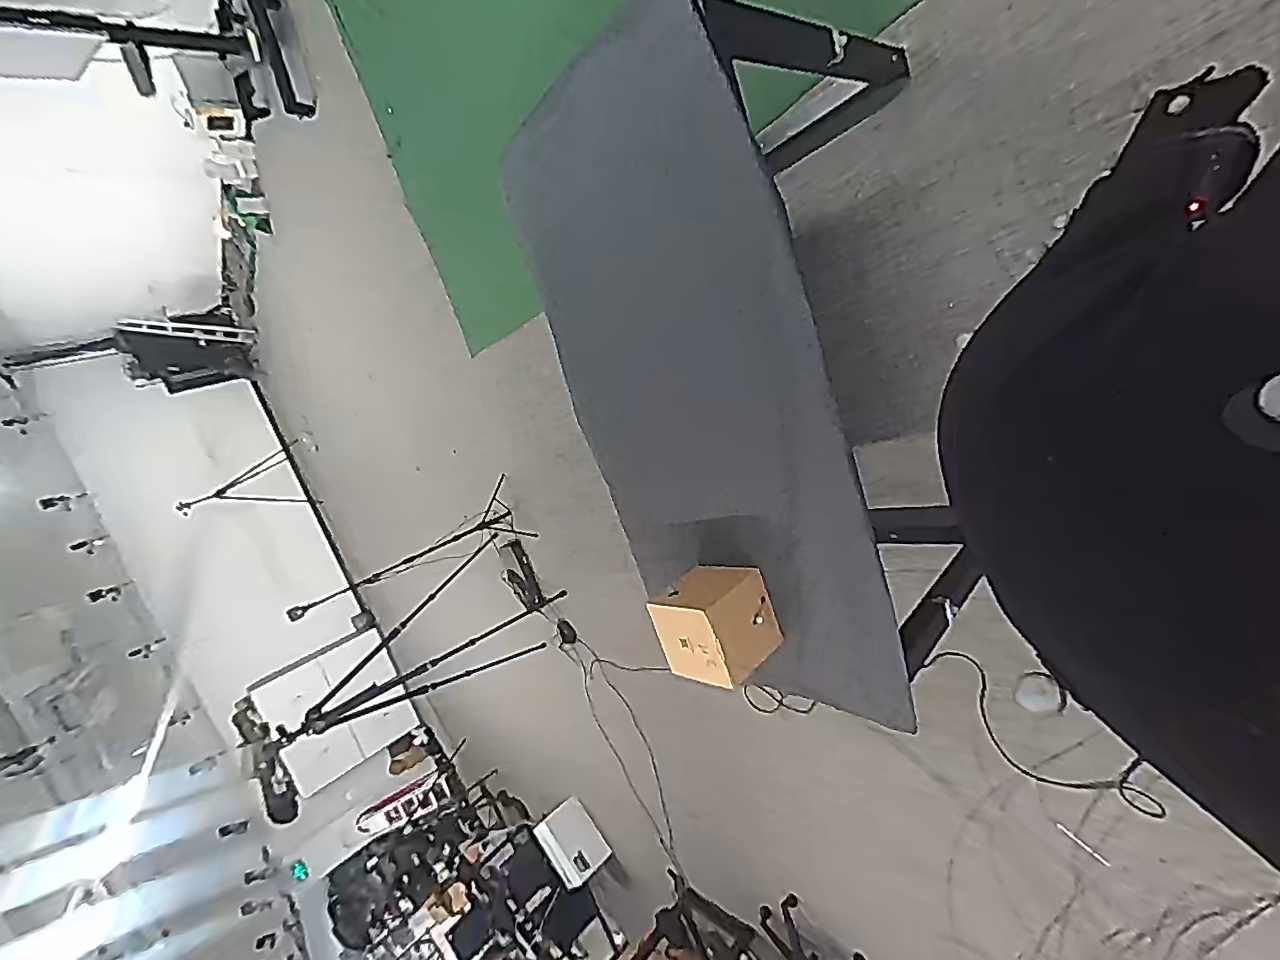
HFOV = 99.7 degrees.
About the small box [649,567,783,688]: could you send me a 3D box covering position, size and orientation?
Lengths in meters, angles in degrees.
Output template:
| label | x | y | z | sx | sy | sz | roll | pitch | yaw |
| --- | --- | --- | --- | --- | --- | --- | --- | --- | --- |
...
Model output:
| label | x | y | z | sx | sy | sz | roll | pitch | yaw |
| --- | --- | --- | --- | --- | --- | --- | --- | --- | --- |
| small box | 0.152 | 0.284 | 1.084 | 0.179 | 0.176 | 0.168 | -10 | 103 | 51 |
